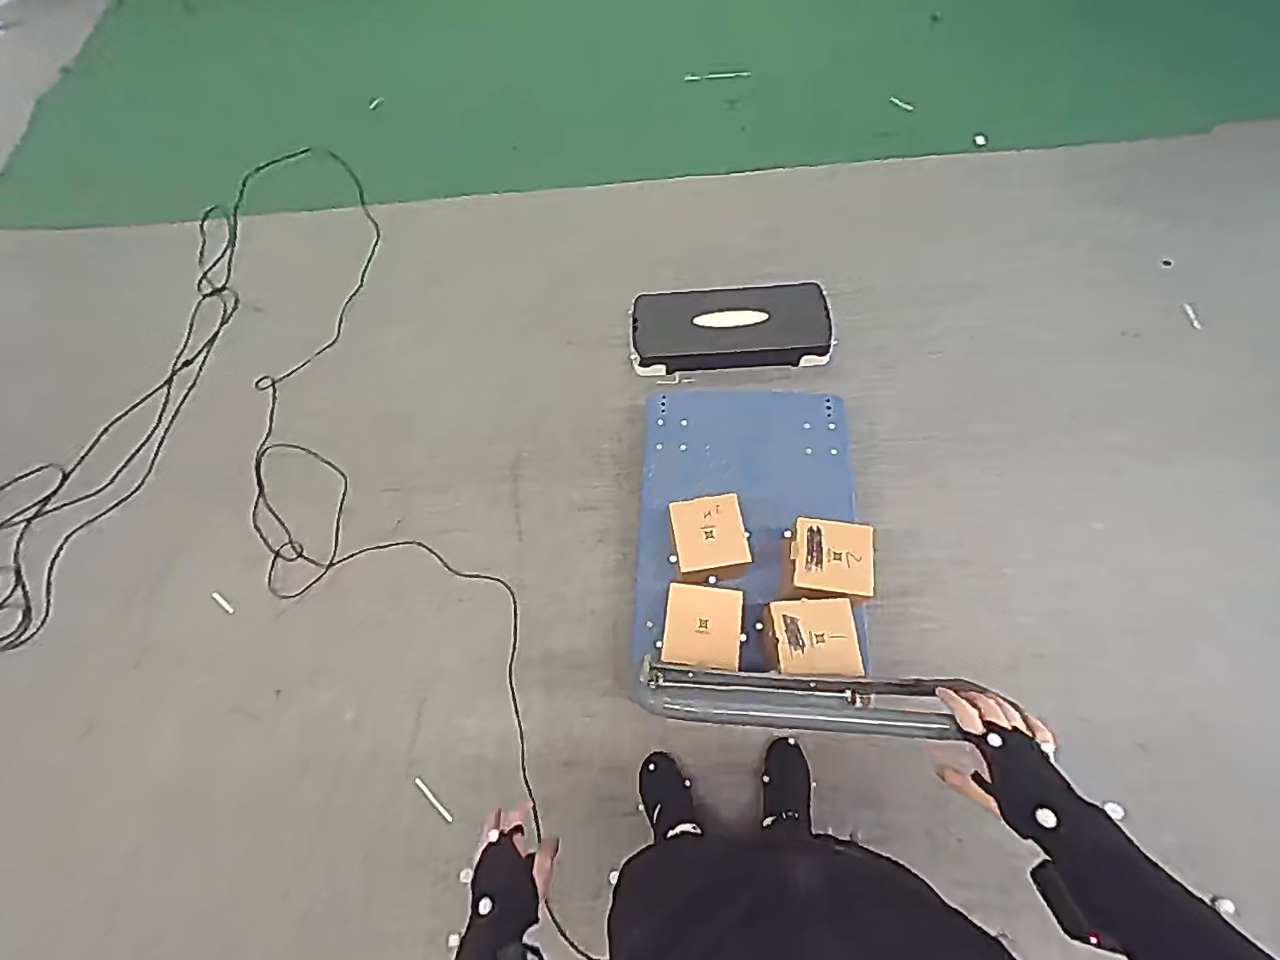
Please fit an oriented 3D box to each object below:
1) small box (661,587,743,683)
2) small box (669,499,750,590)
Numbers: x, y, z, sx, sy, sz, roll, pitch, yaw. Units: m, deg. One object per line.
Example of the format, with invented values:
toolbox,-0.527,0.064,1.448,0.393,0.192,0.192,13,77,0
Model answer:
small box,0.139,0.362,1.250,0.168,0.176,0.179,6,67,5
small box,0.165,0.166,1.335,0.168,0.176,0.179,-8,66,-1
